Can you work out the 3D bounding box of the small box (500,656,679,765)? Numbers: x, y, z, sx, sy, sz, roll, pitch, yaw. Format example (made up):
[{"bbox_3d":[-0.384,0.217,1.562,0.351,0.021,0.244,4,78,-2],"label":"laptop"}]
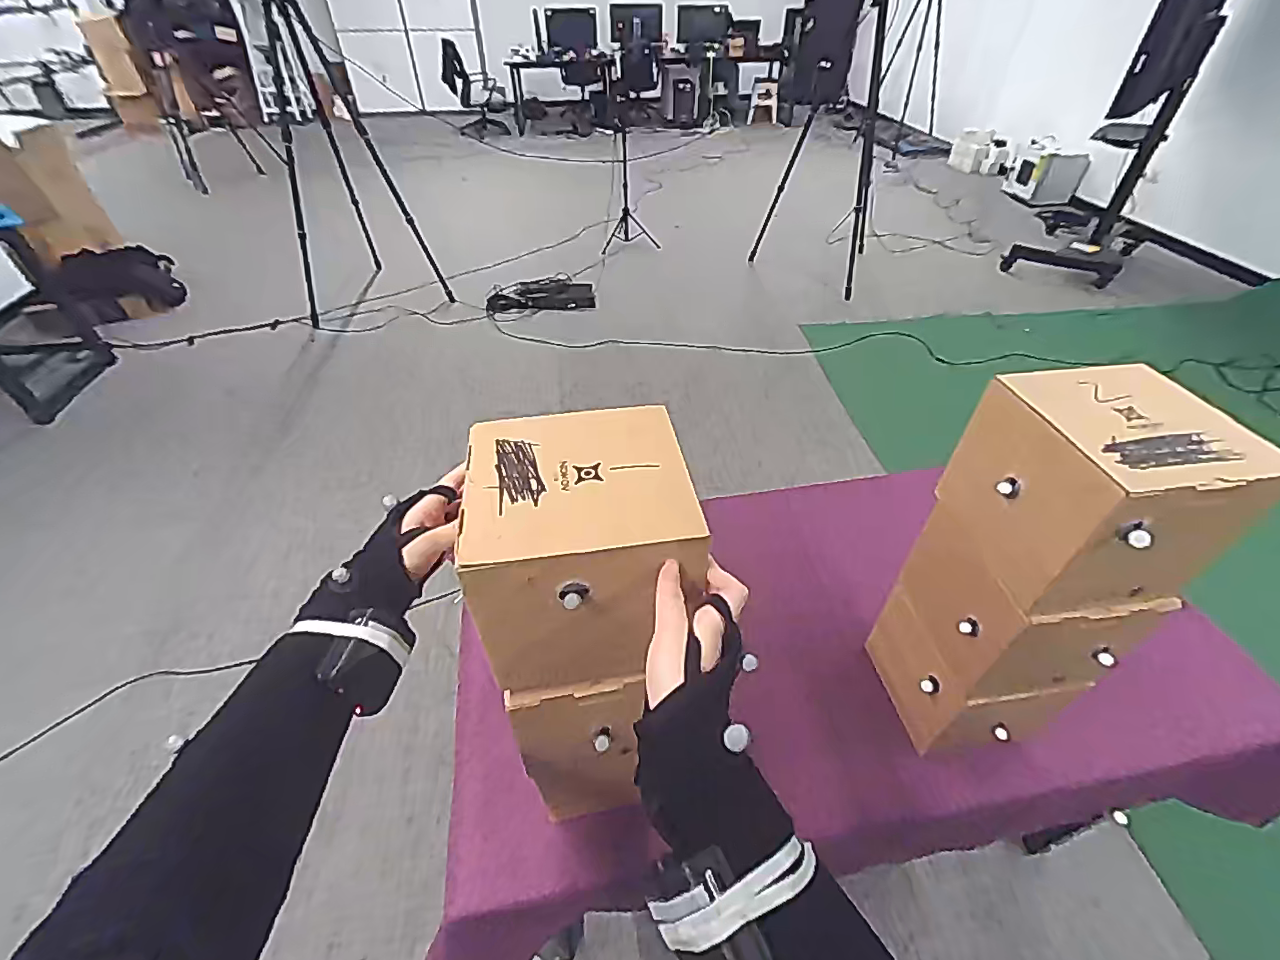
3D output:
[{"bbox_3d":[-0.056,0.190,0.596,0.168,0.176,0.179,-8,43,-8],"label":"small box"}]

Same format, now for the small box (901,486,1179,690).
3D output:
[{"bbox_3d":[0.445,0.132,0.642,0.168,0.176,0.179,-5,42,-4],"label":"small box"}]

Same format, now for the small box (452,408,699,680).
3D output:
[{"bbox_3d":[-0.051,0.057,0.482,0.179,0.176,0.168,-6,42,-6],"label":"small box"}]

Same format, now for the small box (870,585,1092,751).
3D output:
[{"bbox_3d":[0.449,0.255,0.750,0.168,0.176,0.179,-6,43,-5],"label":"small box"}]

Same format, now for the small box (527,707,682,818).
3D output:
[{"bbox_3d":[-0.048,0.313,0.705,0.179,0.176,0.168,-8,43,-8],"label":"small box"}]
